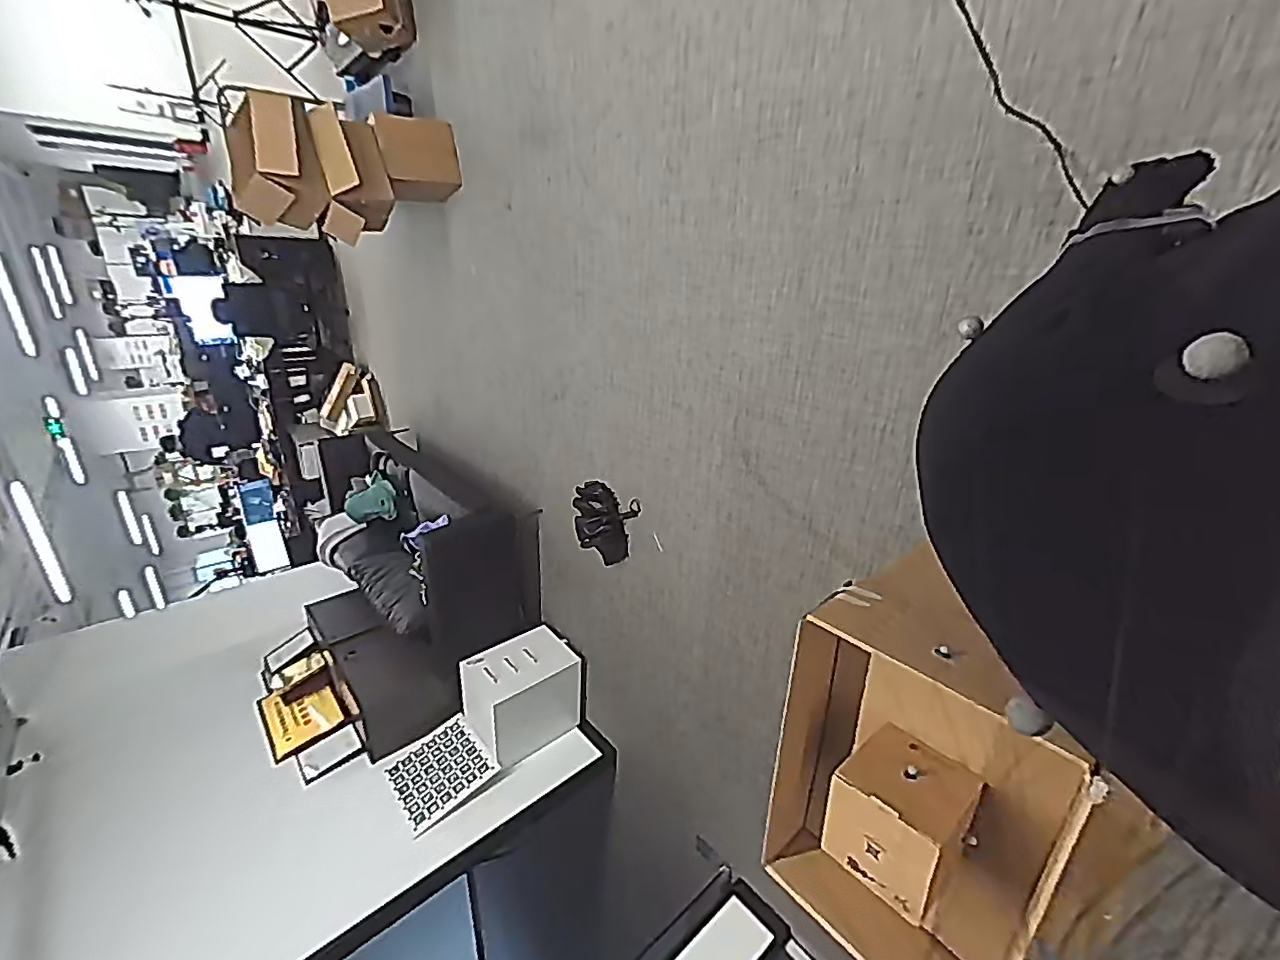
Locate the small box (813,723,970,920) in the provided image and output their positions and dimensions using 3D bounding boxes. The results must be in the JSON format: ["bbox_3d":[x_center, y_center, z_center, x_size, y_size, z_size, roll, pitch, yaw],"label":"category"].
[{"bbox_3d":[0.410,0.539,0.883,0.168,0.176,0.179,23,120,45],"label":"small box"}]
